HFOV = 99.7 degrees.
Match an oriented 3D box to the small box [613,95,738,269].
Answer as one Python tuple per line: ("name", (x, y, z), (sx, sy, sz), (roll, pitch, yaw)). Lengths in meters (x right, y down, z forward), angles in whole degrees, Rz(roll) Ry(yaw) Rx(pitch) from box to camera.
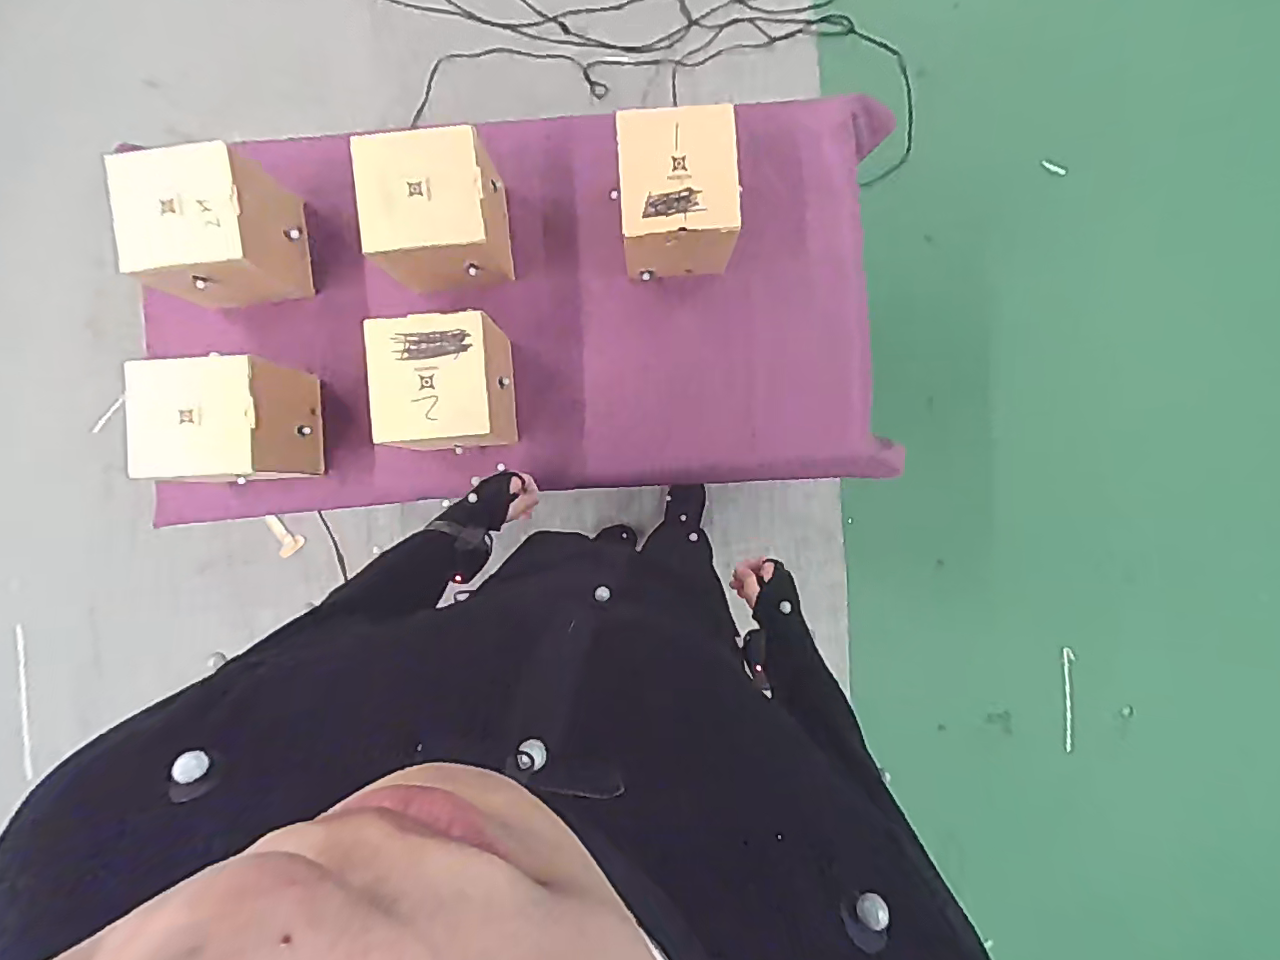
("small box", (0.051, -0.430, 0.811), (0.168, 0.176, 0.179), (-4, 90, 1))

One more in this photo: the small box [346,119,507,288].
("small box", (-0.307, -0.404, 0.816), (0.179, 0.176, 0.168), (-6, 90, 1))

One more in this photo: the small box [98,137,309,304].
("small box", (-0.644, -0.377, 0.817), (0.179, 0.176, 0.168), (-7, 91, 0))

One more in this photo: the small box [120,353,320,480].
("small box", (-0.624, -0.088, 0.821), (0.179, 0.176, 0.168), (-4, 89, 0))
